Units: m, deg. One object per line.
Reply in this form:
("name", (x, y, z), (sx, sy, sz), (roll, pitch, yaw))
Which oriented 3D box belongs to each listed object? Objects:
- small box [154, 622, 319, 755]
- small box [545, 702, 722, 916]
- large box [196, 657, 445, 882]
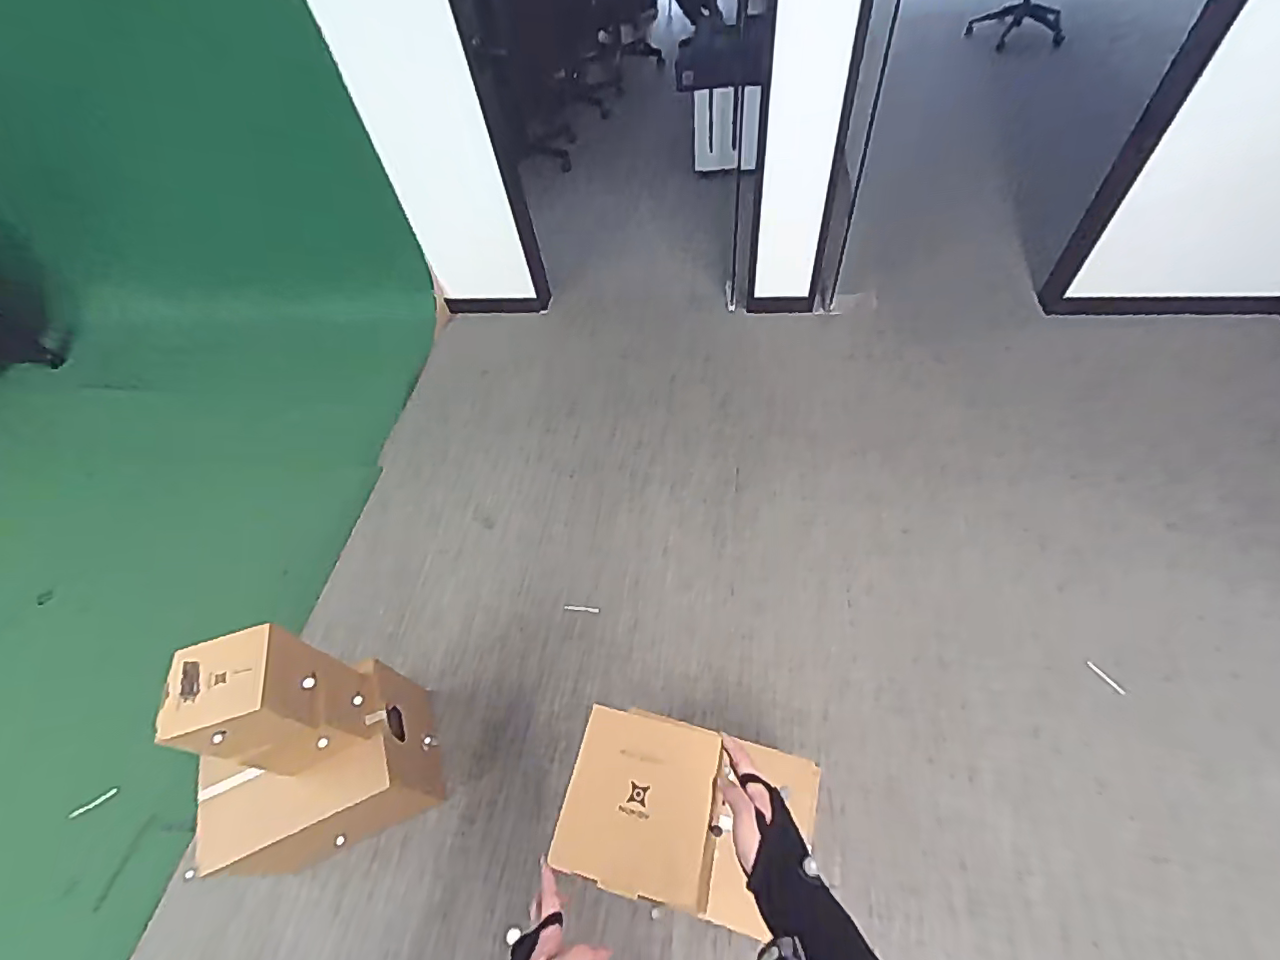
("small box", (-0.744, 0.398, 1.020), (0.179, 0.176, 0.168), (-17, 54, -6))
("small box", (0.007, 0.406, 0.673), (0.168, 0.176, 0.179), (9, 54, 15))
("large box", (-0.751, 0.697, 1.313), (0.408, 0.320, 0.320), (-23, 54, -9))
